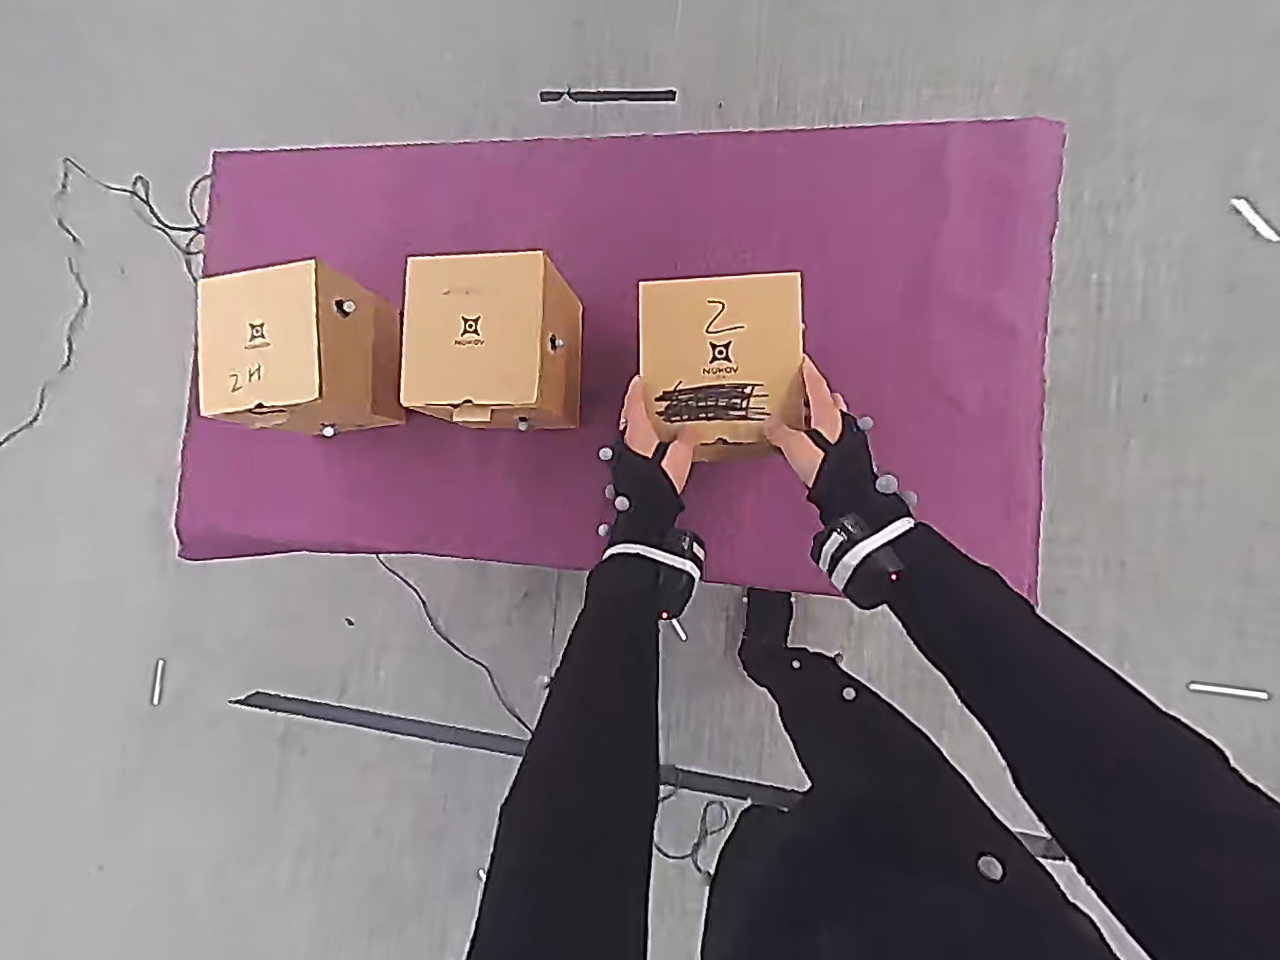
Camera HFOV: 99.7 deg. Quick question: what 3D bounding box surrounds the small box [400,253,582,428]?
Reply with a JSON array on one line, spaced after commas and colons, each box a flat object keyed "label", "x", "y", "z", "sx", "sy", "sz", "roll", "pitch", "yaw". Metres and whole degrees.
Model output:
[{"label": "small box", "x": -0.174, "y": -0.160, "z": 0.678, "sx": 0.168, "sy": 0.176, "sz": 0.179, "roll": 1, "pitch": 87, "yaw": 9}]

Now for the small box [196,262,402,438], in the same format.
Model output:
[{"label": "small box", "x": -0.441, "y": -0.160, "z": 0.721, "sx": 0.168, "sy": 0.176, "sz": 0.179, "roll": -6, "pitch": 86, "yaw": 10}]
